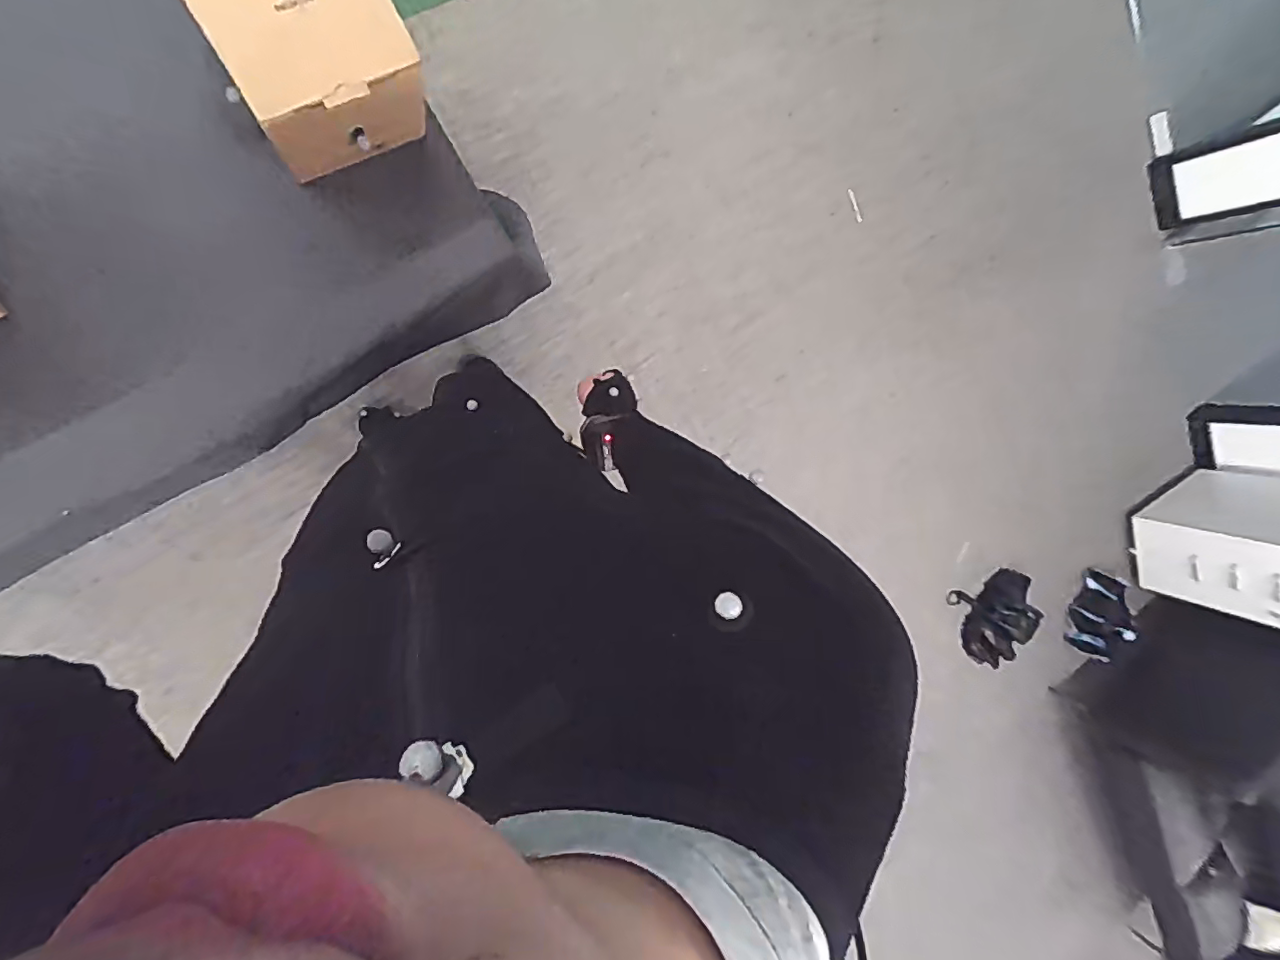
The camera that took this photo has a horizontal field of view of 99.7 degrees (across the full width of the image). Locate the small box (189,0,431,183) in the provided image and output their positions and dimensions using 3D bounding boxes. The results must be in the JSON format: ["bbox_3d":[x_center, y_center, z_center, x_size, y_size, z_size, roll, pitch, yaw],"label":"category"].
[{"bbox_3d":[-0.340,-0.446,0.578,0.168,0.176,0.179,-32,109,-13],"label":"small box"}]
